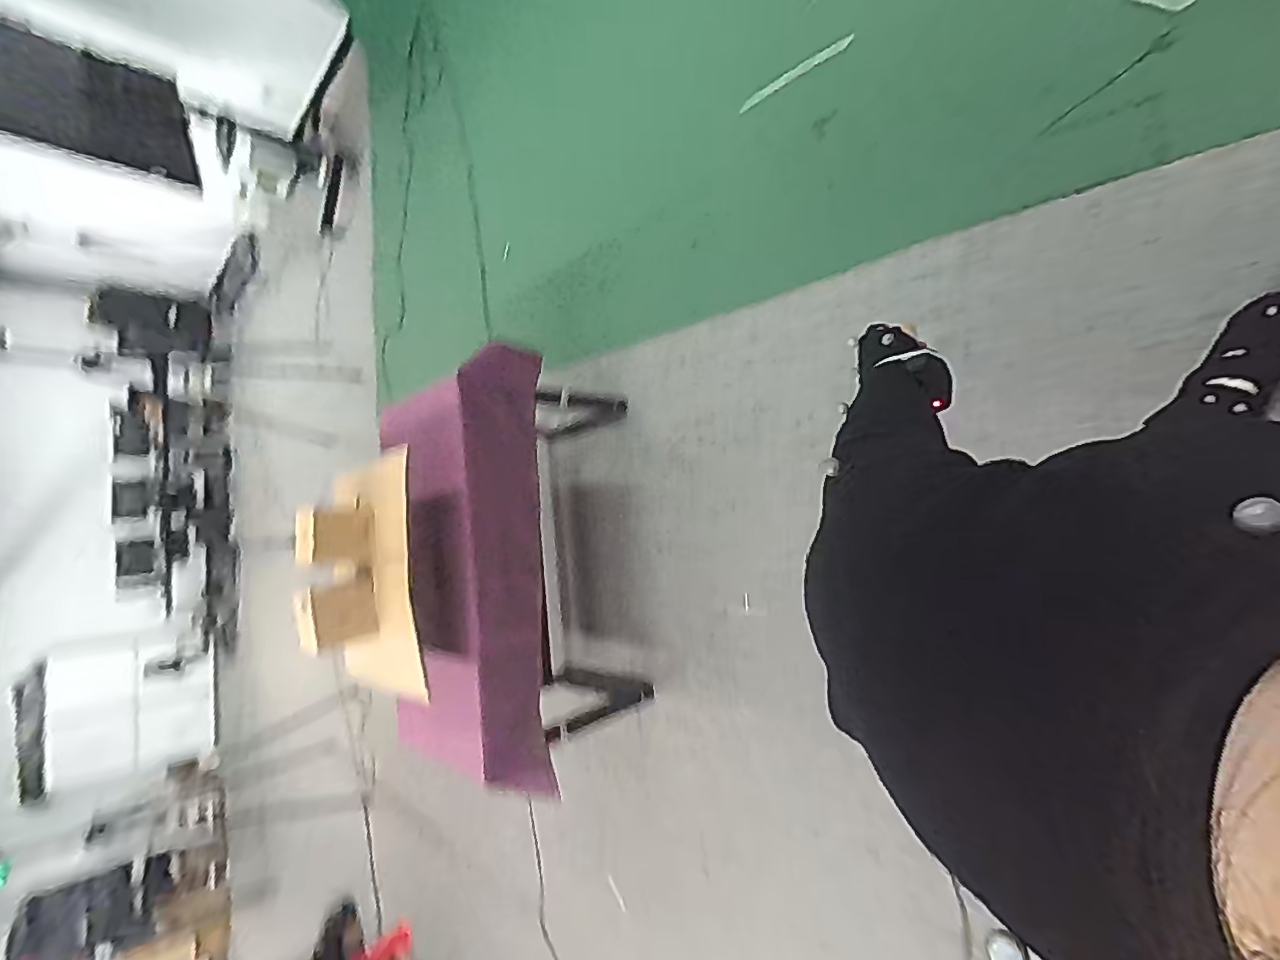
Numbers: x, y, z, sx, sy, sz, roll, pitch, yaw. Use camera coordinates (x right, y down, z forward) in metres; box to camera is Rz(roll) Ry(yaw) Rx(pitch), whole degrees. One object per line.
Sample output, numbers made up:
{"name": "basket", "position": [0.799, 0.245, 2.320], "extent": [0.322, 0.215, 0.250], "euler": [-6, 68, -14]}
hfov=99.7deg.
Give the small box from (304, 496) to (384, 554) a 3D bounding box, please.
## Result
{"name": "small box", "position": [-0.899, 0.139, 1.642], "extent": [0.179, 0.176, 0.168], "euler": [-7, 83, 43]}
